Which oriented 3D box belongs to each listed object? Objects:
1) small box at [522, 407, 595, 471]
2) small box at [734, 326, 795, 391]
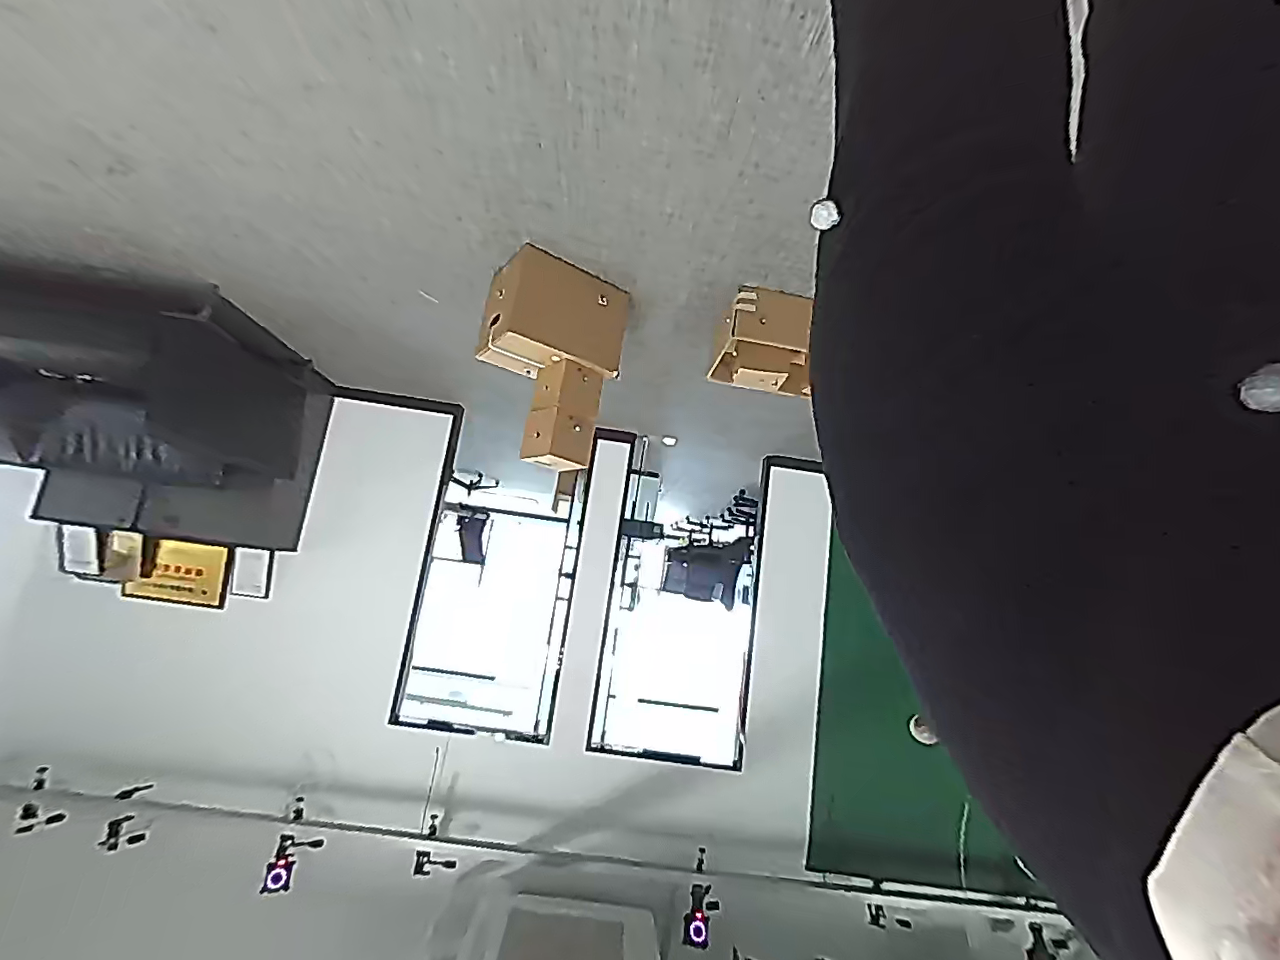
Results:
[{"bbox_3d":[-0.272,-0.137,1.839,0.179,0.176,0.168,-5,163,45],"label":"small box"},{"bbox_3d":[0.450,-0.441,1.963,0.179,0.176,0.168,8,169,1],"label":"small box"}]
